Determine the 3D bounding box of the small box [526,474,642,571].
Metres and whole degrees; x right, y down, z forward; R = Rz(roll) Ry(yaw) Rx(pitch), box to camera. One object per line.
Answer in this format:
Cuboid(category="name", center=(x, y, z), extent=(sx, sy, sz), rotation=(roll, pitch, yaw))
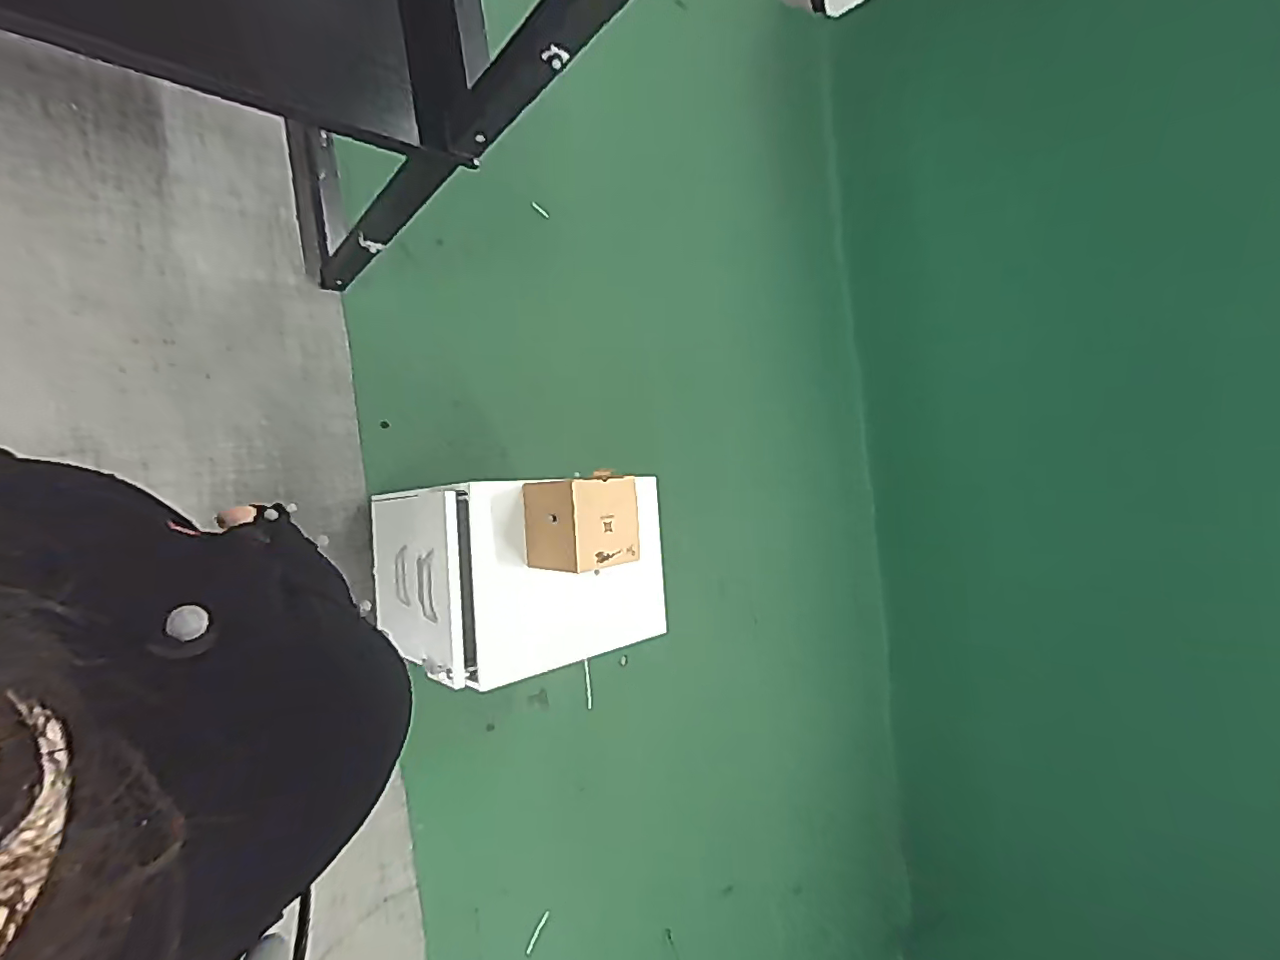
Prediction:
Cuboid(category="small box", center=(-0.117, 0.083, 1.091), extent=(0.168, 0.176, 0.179), rotation=(-4, 90, -44))
